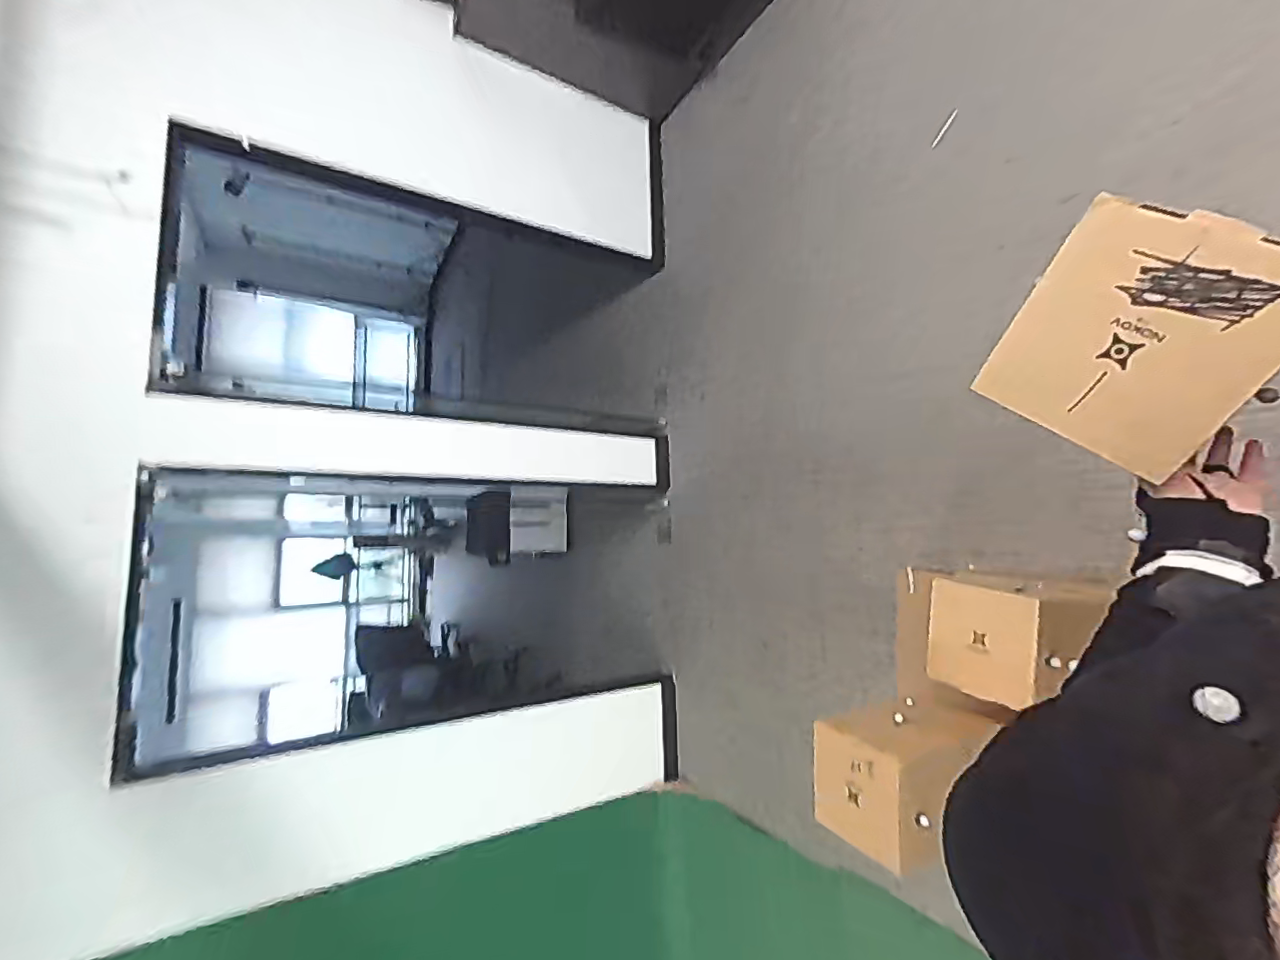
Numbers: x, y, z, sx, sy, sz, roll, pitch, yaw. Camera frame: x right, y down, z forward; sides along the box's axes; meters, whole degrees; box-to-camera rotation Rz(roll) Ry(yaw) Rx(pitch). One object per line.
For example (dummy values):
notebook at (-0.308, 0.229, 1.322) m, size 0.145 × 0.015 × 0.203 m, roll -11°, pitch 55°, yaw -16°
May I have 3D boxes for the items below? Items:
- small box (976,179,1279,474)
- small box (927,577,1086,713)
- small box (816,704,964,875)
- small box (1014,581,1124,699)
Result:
small box at (0.448, -0.137, 0.472) m, size 0.168 × 0.176 × 0.179 m, roll 45°, pitch 135°, yaw 31°
small box at (0.616, 0.263, 0.911) m, size 0.168 × 0.176 × 0.179 m, roll 3°, pitch 90°, yaw 60°
small box at (0.416, 0.499, 0.904) m, size 0.168 × 0.176 × 0.179 m, roll -3°, pitch 86°, yaw 60°
small box at (0.753, 0.282, 0.998) m, size 0.179 × 0.176 × 0.168 m, roll 2°, pitch 88°, yaw 61°
